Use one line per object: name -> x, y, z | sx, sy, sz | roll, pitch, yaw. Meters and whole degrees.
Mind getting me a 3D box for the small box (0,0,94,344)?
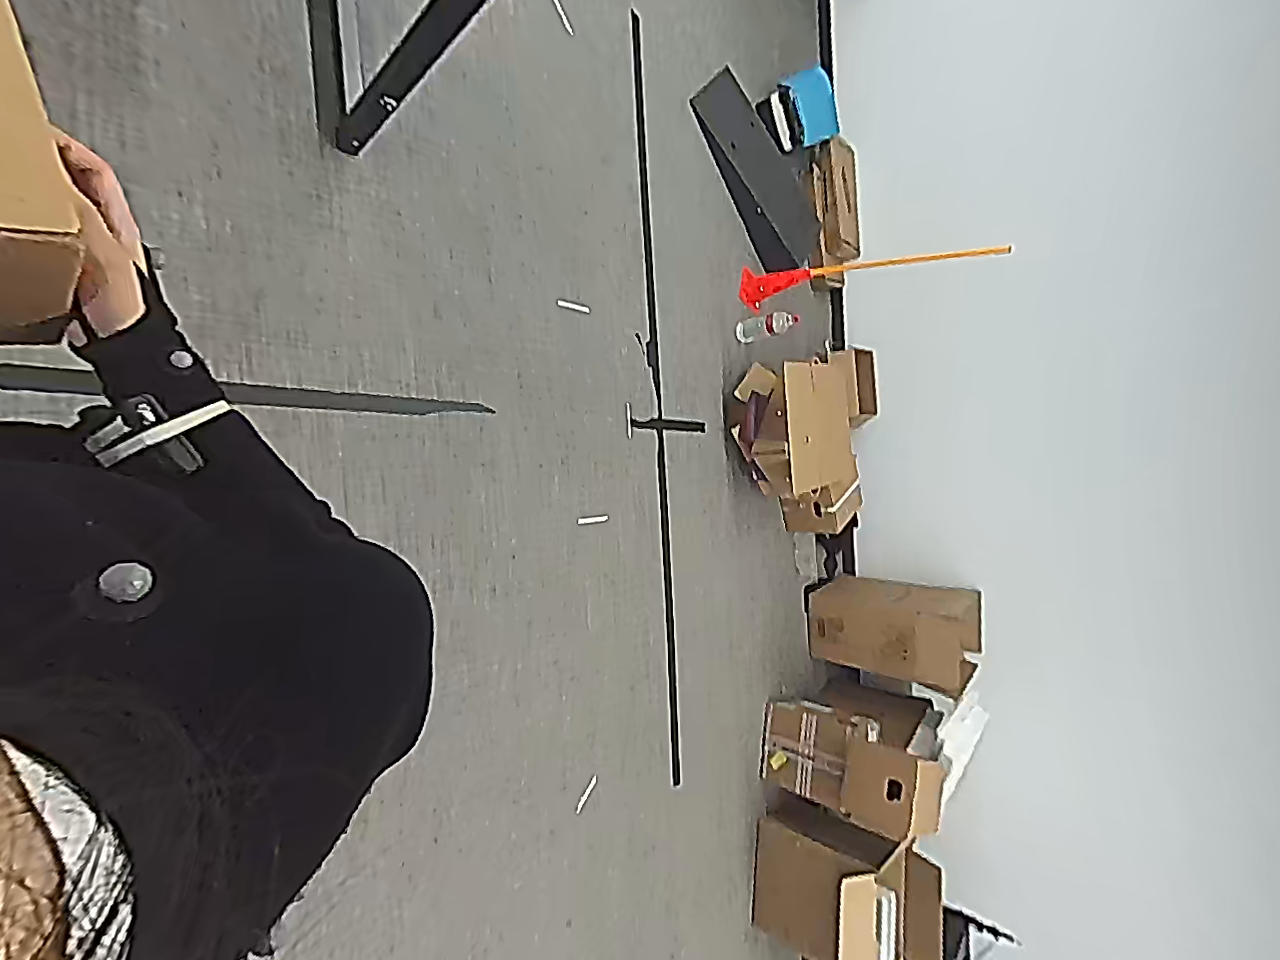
small box -> -0.417, -0.172, 0.271 | 0.168, 0.176, 0.179 | -20, 97, -50
